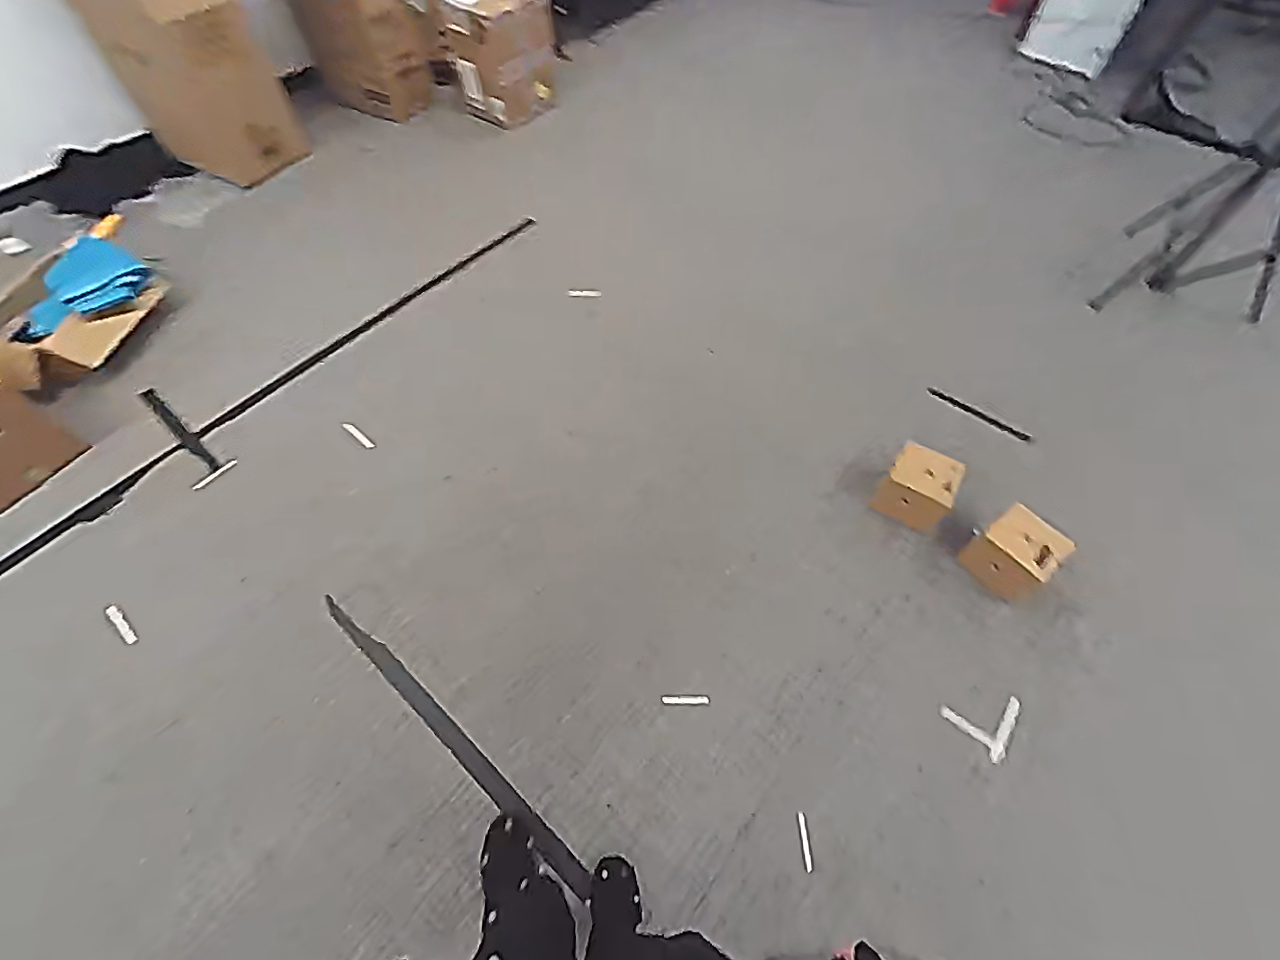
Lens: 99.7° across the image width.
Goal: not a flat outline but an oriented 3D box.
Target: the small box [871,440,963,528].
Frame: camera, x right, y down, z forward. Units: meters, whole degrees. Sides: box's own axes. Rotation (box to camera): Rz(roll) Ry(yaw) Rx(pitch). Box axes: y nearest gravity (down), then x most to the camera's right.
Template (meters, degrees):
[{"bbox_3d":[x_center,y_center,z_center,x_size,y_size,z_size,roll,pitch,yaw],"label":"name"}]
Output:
[{"bbox_3d":[0.822,0.019,1.621,0.179,0.176,0.168,28,63,17],"label":"small box"}]

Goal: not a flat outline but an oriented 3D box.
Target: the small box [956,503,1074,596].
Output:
[{"bbox_3d":[1.035,0.202,1.507,0.168,0.176,0.179,-35,64,-20],"label":"small box"}]
